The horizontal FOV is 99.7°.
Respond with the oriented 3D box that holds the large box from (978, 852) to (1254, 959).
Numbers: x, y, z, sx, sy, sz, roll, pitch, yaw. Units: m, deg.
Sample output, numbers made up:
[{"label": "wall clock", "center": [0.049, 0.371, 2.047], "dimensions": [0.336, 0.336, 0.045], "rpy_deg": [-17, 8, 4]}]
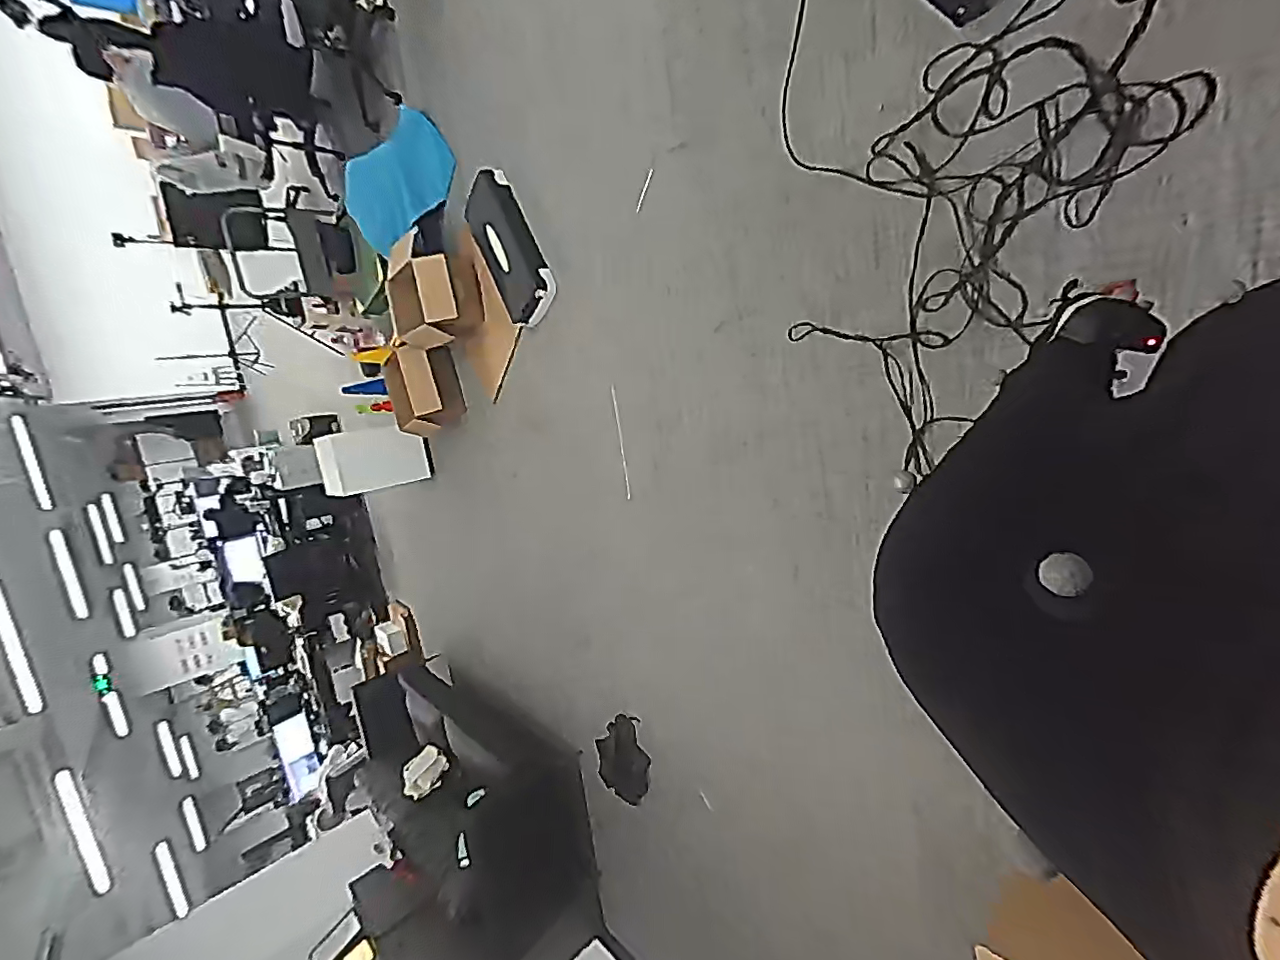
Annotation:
[{"label": "large box", "center": [1.010, 1.117, 1.151], "dimensions": [0.408, 0.320, 0.320], "rpy_deg": [0, 102, 51]}]
